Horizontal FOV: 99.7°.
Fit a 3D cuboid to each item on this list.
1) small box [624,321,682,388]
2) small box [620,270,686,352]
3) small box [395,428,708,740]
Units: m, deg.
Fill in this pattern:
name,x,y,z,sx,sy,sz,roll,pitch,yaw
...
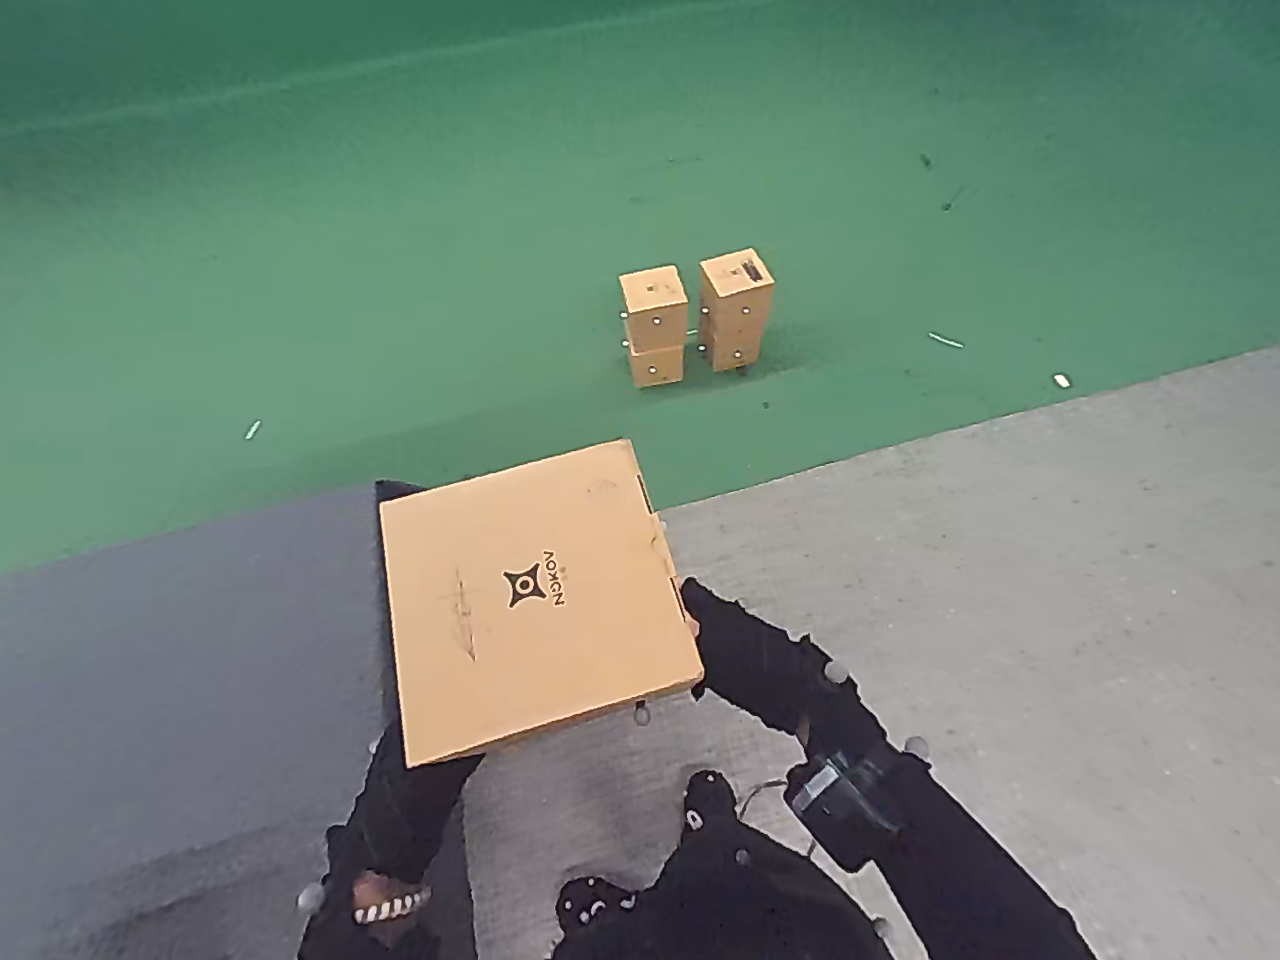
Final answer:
name,x,y,z,sx,sy,sz,roll,pitch,yaw
small box,0.047,-0.428,1.823,0.168,0.176,0.179,-10,60,-2
small box,0.044,-0.521,1.686,0.179,0.176,0.168,-11,60,-2
small box,-0.061,0.087,0.414,0.179,0.176,0.168,-14,66,-5
